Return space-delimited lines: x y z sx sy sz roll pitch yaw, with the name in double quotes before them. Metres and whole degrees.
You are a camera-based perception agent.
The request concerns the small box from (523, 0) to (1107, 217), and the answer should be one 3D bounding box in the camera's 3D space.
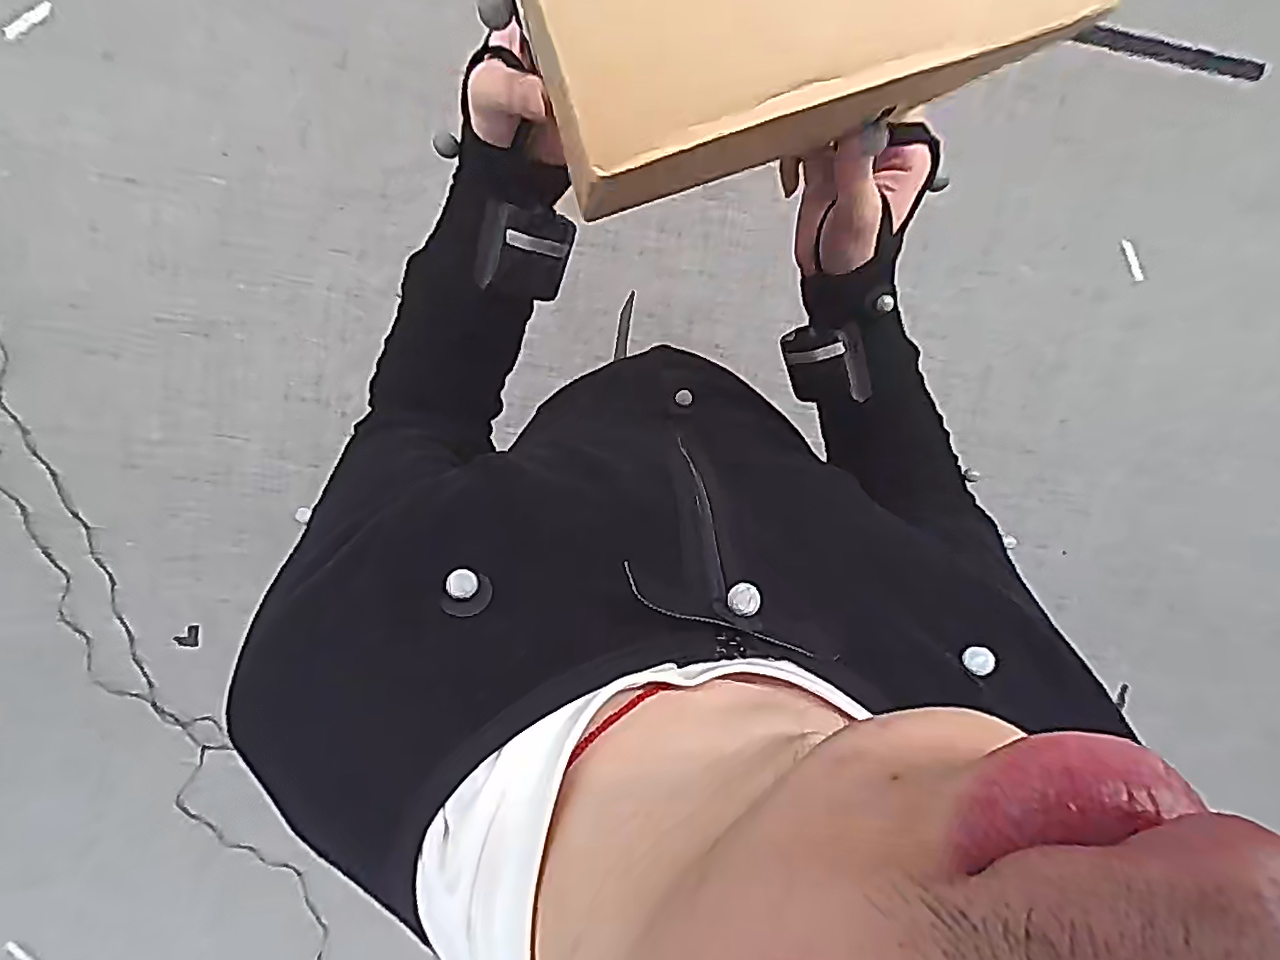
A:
"small box" 0.039 -0.225 0.221 0.179 0.176 0.168 -19 111 1
